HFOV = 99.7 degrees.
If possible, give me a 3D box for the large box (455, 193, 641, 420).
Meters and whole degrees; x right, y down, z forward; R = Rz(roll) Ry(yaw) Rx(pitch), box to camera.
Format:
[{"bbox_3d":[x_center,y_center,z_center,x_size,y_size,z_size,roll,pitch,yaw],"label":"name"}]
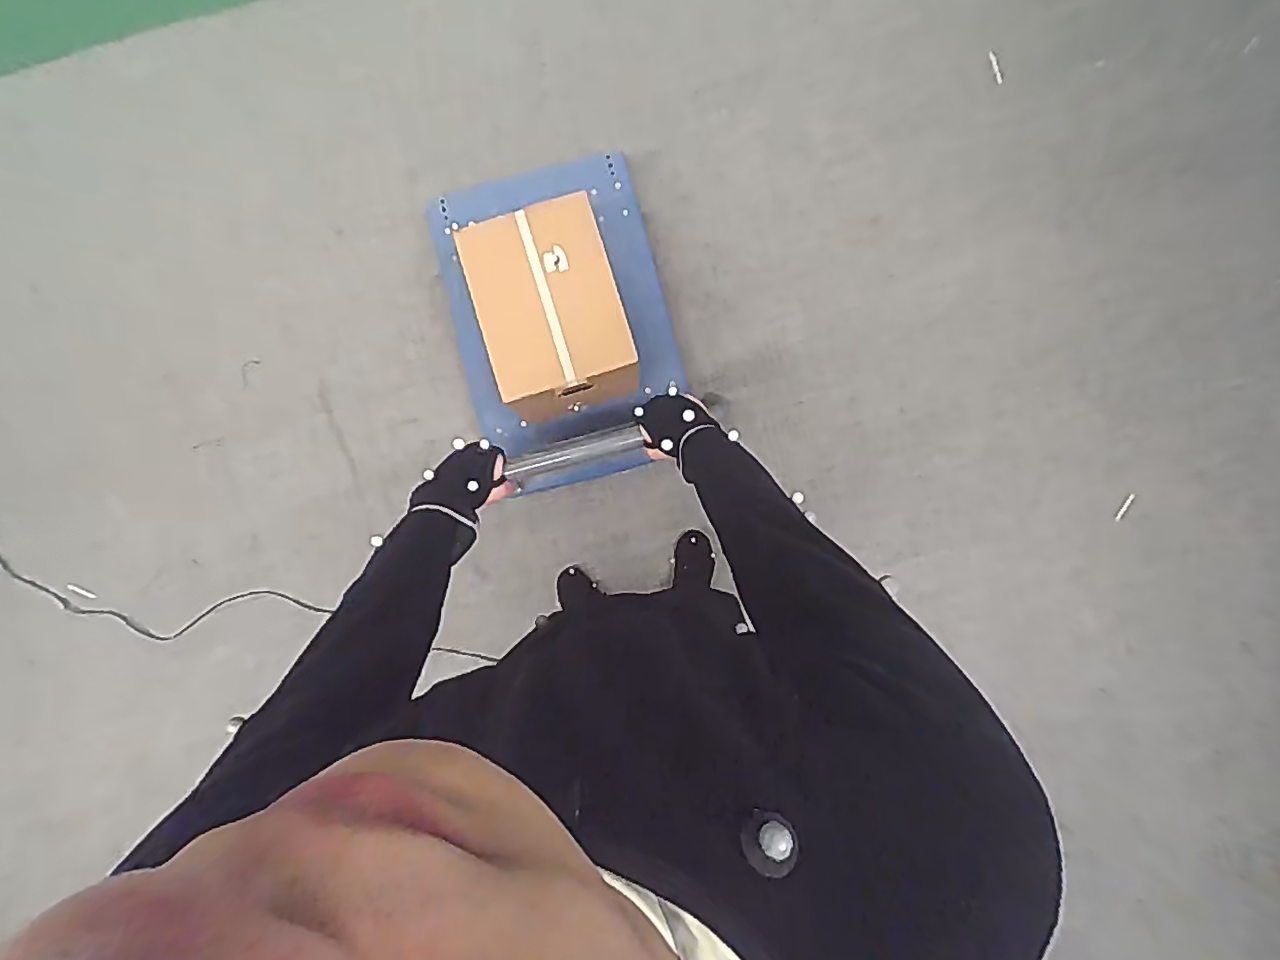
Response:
[{"bbox_3d":[-0.205,-0.402,1.346,0.320,0.320,0.408,-17,87,0],"label":"large box"}]
